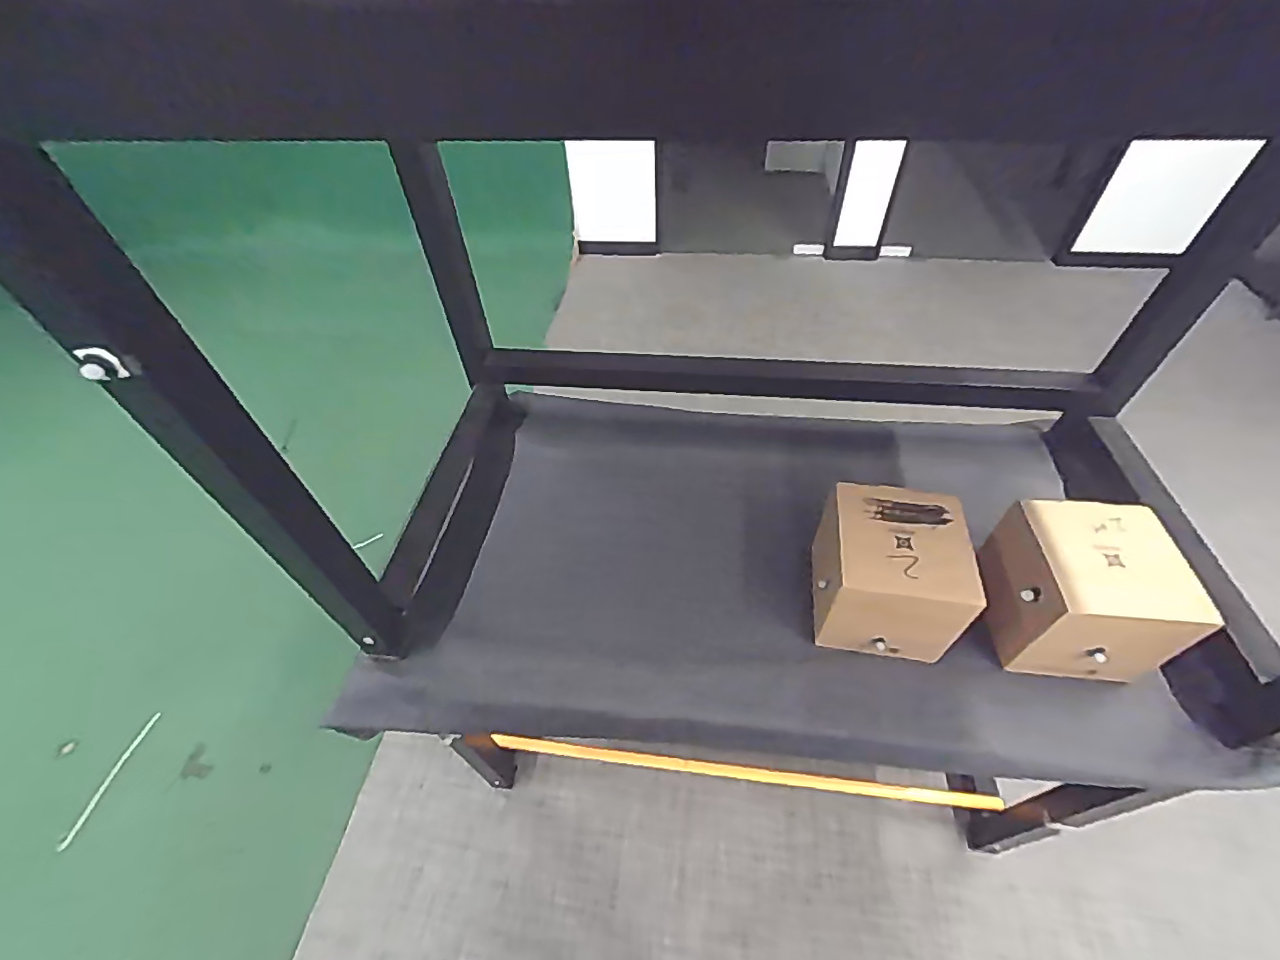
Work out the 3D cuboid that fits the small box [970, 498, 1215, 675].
[{"bbox_3d":[0.586,0.147,0.735,0.168,0.176,0.179,4,48,6],"label":"small box"}]
